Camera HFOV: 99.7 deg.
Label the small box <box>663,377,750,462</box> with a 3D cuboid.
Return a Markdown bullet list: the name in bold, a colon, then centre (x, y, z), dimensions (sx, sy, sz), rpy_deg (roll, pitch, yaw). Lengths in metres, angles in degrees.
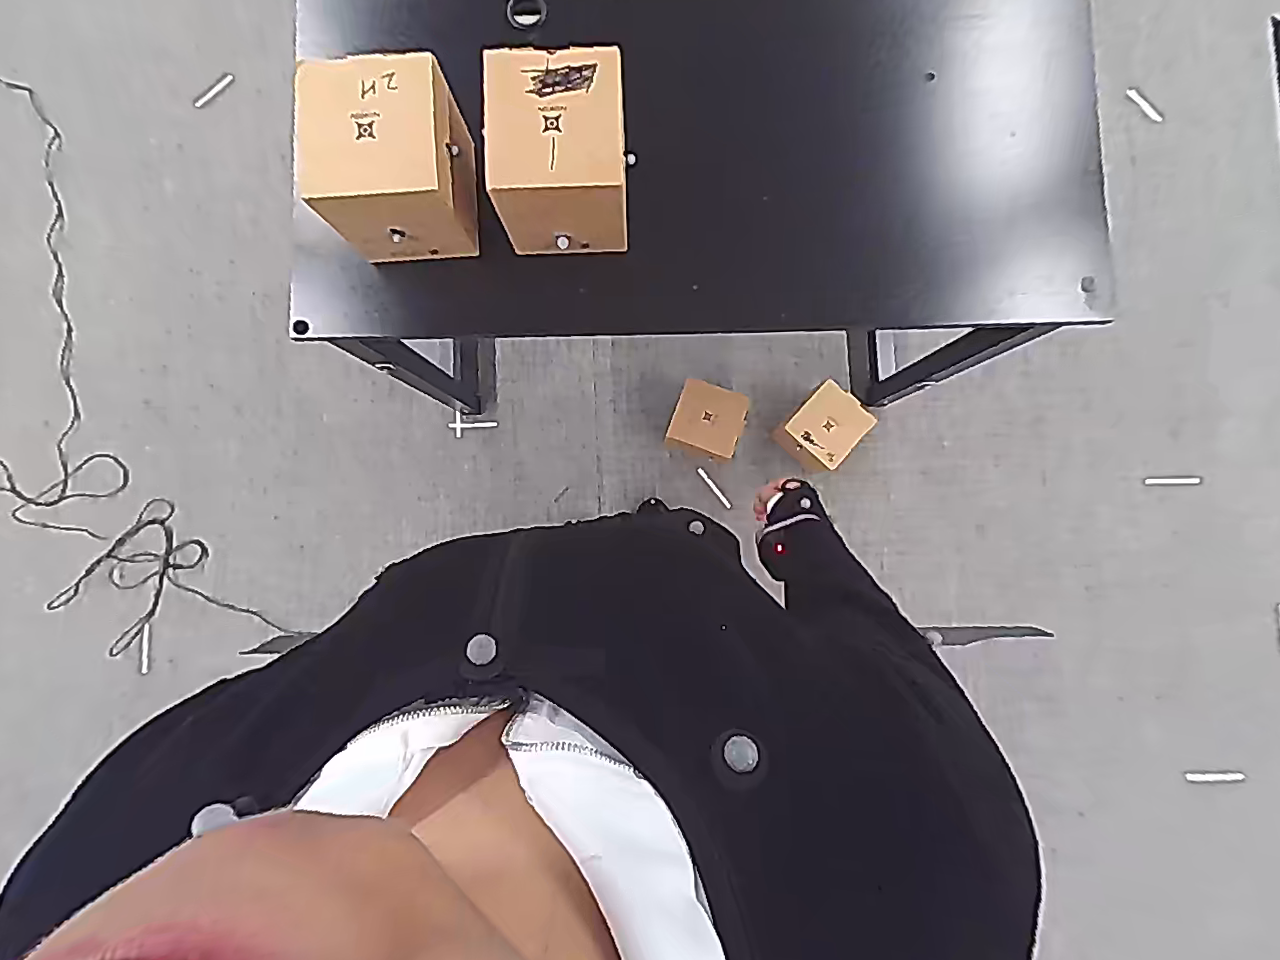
- **small box**: centre (0.170, -0.153, 1.440), dimensions (0.179, 0.176, 0.168), rpy_deg (19, 86, 2)

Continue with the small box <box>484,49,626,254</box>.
- **small box**: centre (-0.105, -0.427, 0.725), dimensions (0.168, 0.176, 0.179), rpy_deg (-2, 87, 0)

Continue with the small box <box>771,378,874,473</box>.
- **small box**: centre (0.473, -0.138, 1.435), dimensions (0.168, 0.176, 0.179), rpy_deg (42, 88, 3)
